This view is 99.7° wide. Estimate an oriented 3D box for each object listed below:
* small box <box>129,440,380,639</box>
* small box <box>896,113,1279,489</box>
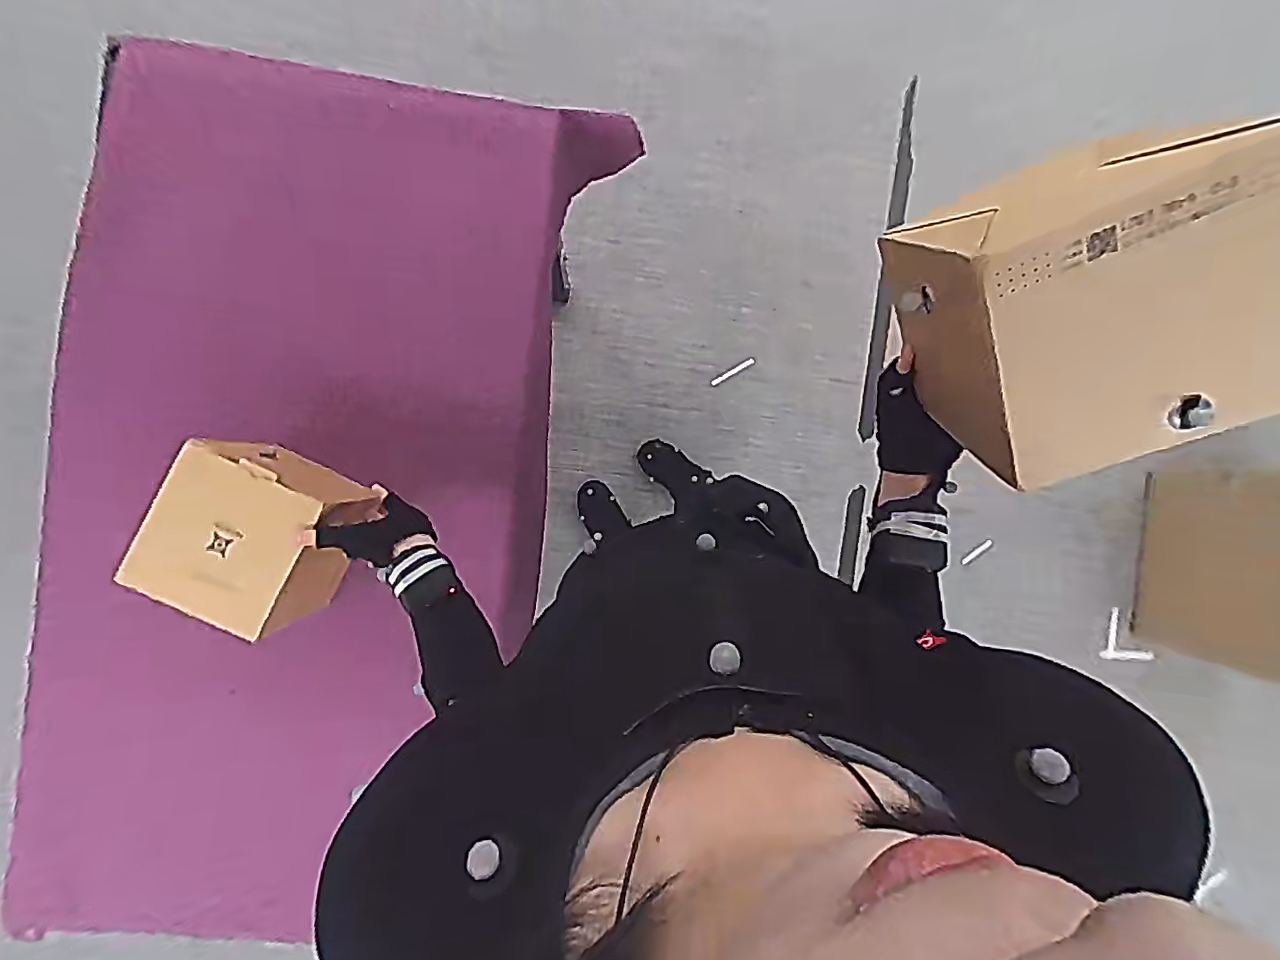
[{"bbox_3d":[-0.460,0.066,0.682,0.168,0.176,0.179,26,90,-2],"label":"small box"},{"bbox_3d":[0.302,-0.126,0.383,0.168,0.179,0.176,-21,114,15],"label":"small box"}]
